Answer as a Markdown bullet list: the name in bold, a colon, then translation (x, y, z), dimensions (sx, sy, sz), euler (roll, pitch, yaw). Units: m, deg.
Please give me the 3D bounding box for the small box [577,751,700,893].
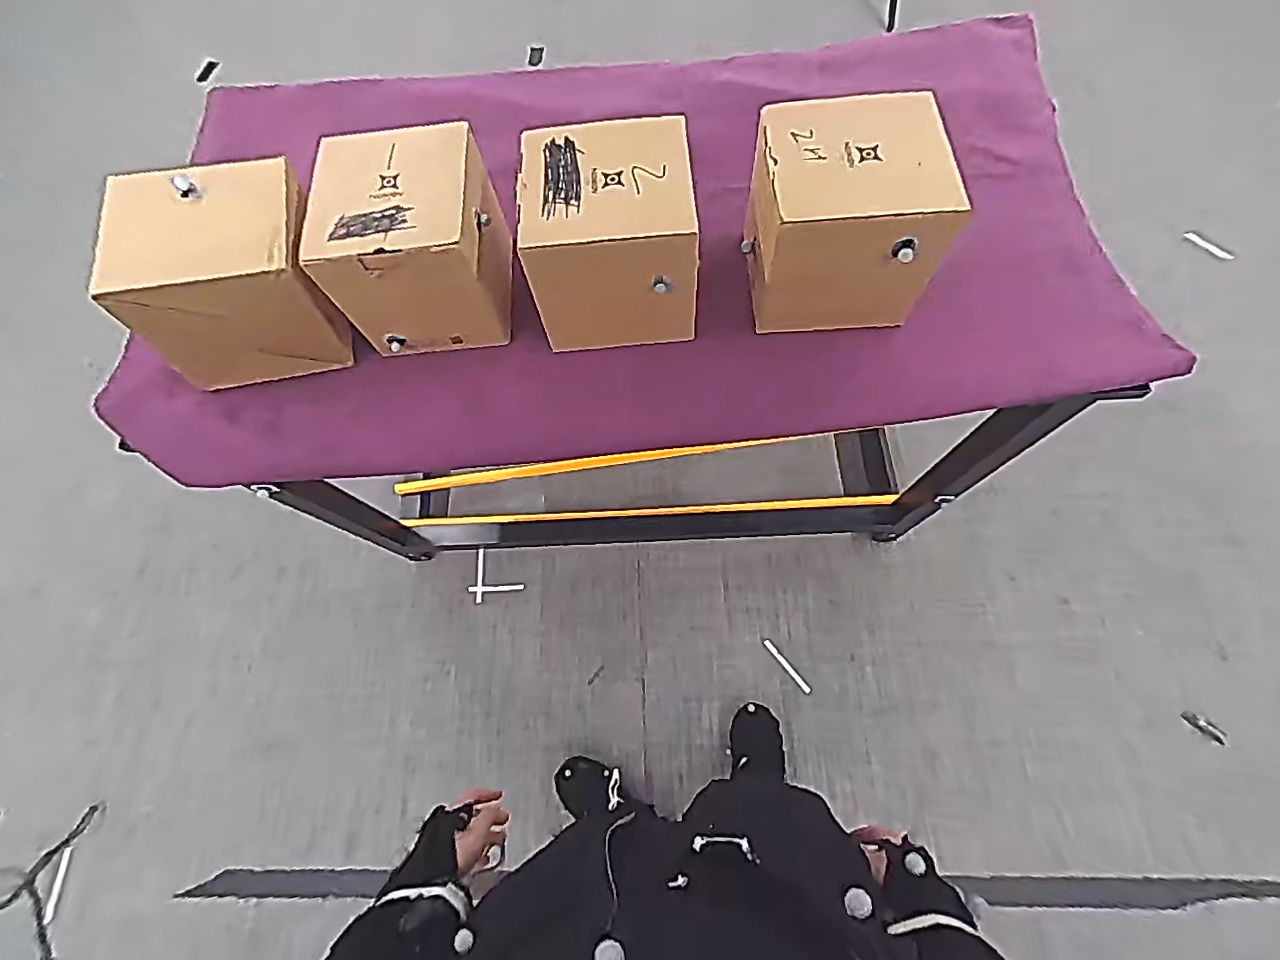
- **small box**: translation (-0.002, 0.648, 1.040), dimensions (0.179, 0.176, 0.168), euler (-40, 69, -17)
